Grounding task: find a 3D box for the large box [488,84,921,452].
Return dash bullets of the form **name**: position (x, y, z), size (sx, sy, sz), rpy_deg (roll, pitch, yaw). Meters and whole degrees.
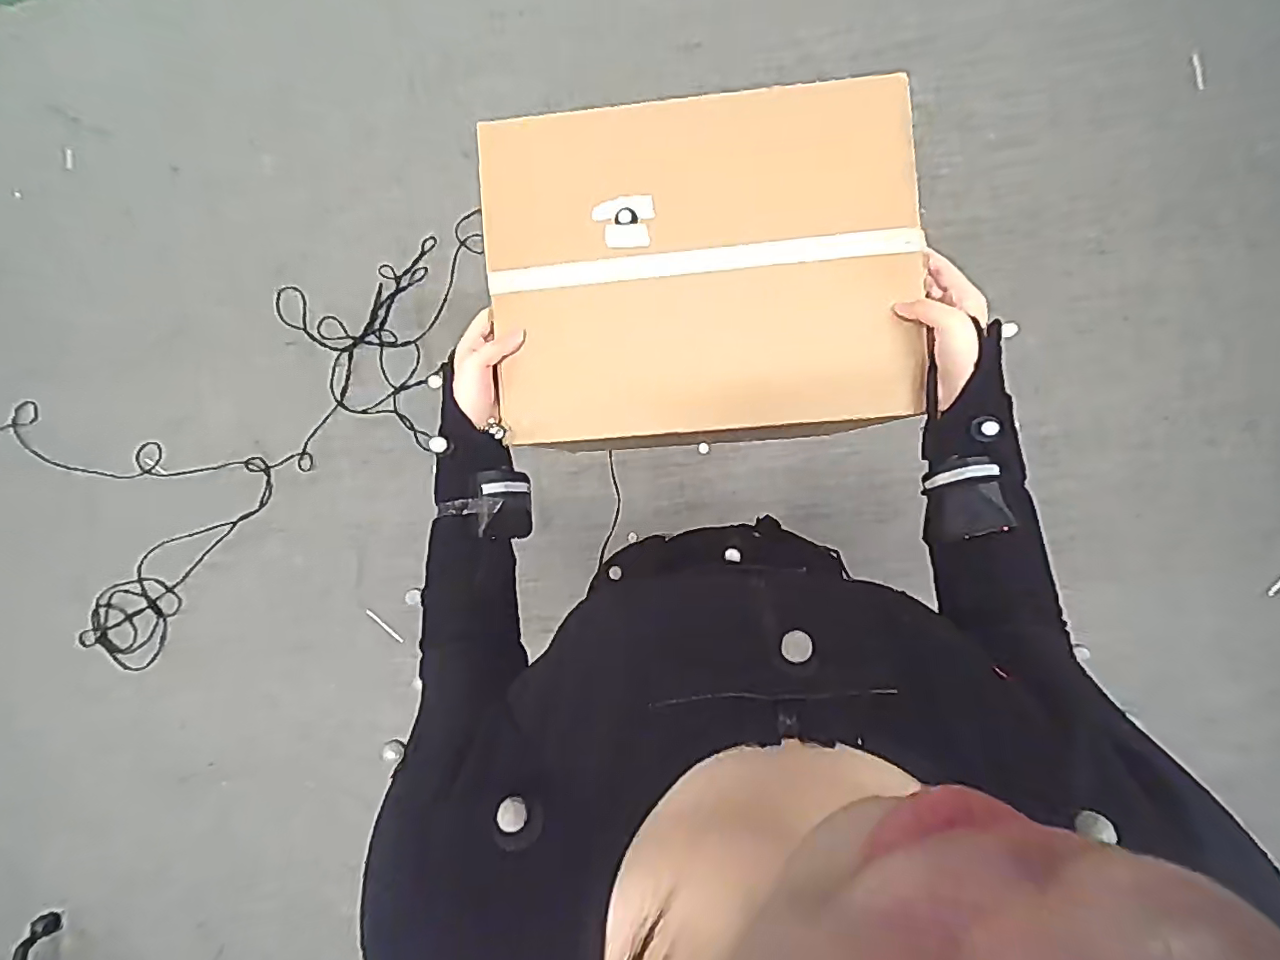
- **large box**: position (0.072, -0.205, 0.673), size (0.408, 0.320, 0.320), rpy_deg (-5, 90, 6)
